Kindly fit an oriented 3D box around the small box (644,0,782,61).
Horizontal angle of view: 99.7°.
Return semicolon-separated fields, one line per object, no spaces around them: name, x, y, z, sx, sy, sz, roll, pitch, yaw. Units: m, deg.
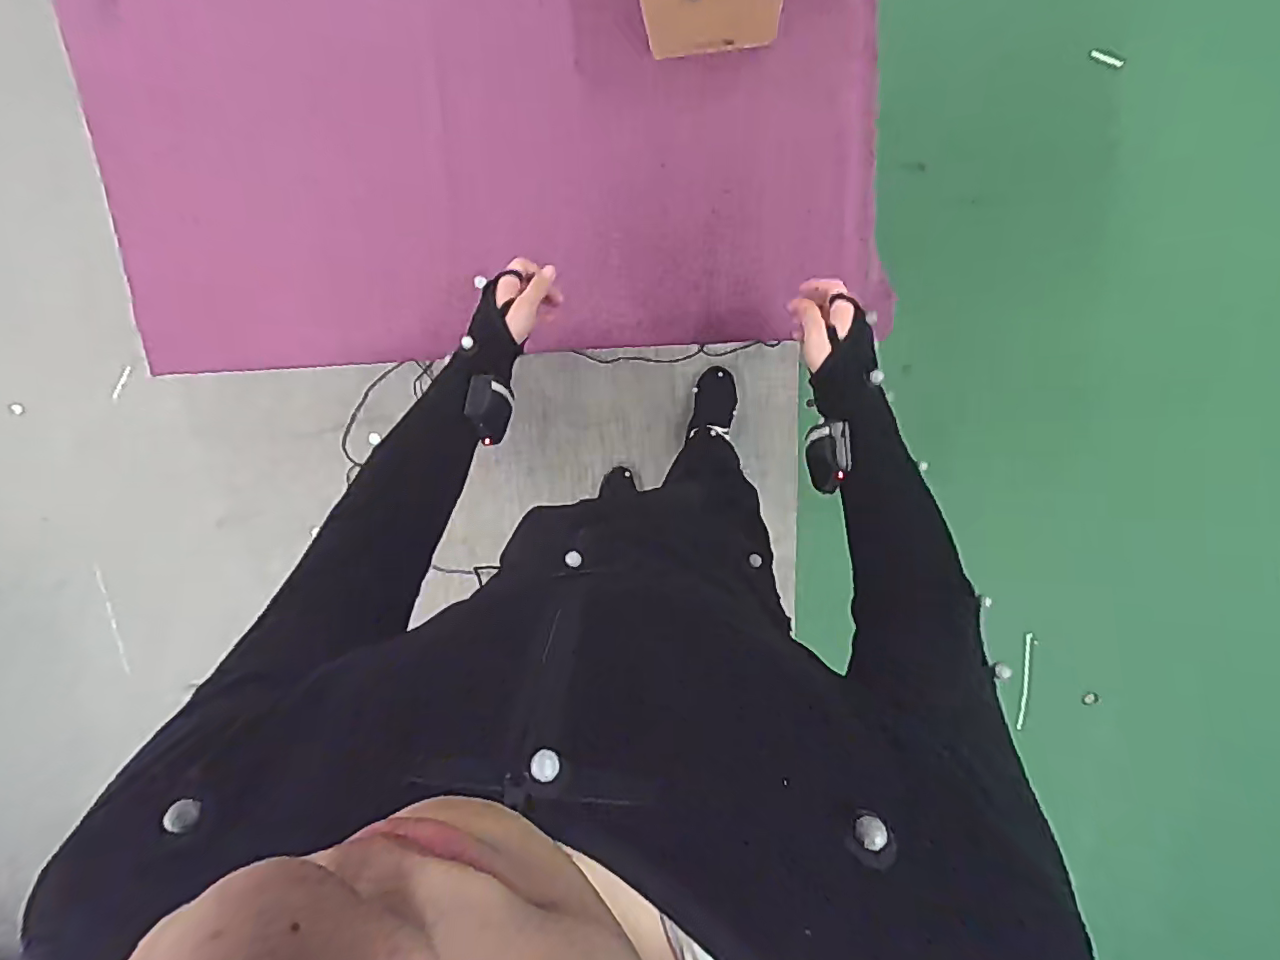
small box;0.085;-0.642;0.635;0.168;0.176;0.179;0;102;9
